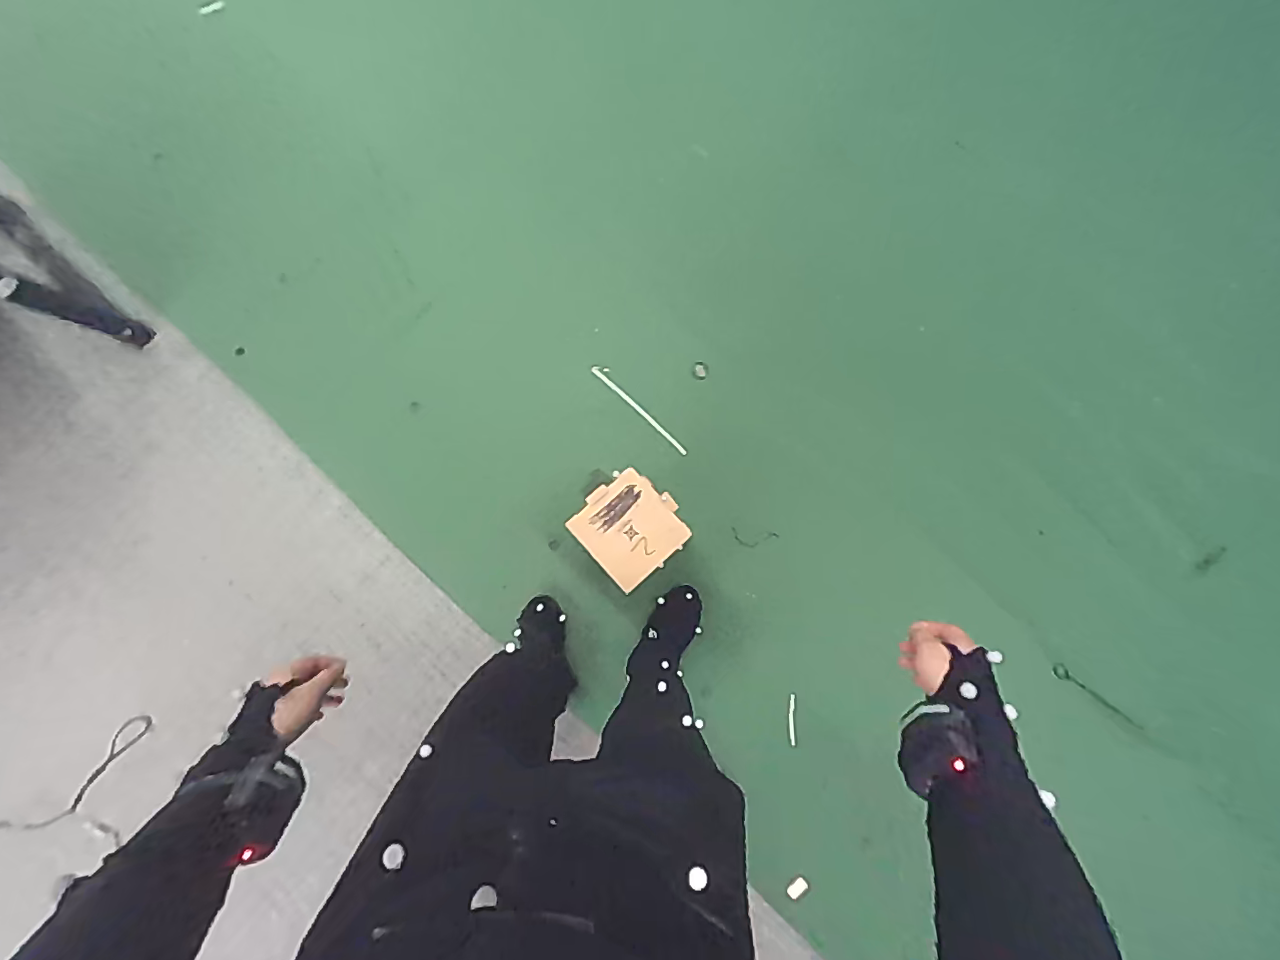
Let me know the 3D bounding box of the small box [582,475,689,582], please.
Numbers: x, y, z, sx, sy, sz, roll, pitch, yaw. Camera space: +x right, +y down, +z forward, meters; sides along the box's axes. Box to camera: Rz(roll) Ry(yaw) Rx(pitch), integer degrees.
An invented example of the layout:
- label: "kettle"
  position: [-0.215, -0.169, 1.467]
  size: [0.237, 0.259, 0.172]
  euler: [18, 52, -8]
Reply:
- label: "small box"
  position: [-0.005, 0.110, 1.236]
  size: [0.179, 0.176, 0.168]
  euler: [-39, 86, -2]
